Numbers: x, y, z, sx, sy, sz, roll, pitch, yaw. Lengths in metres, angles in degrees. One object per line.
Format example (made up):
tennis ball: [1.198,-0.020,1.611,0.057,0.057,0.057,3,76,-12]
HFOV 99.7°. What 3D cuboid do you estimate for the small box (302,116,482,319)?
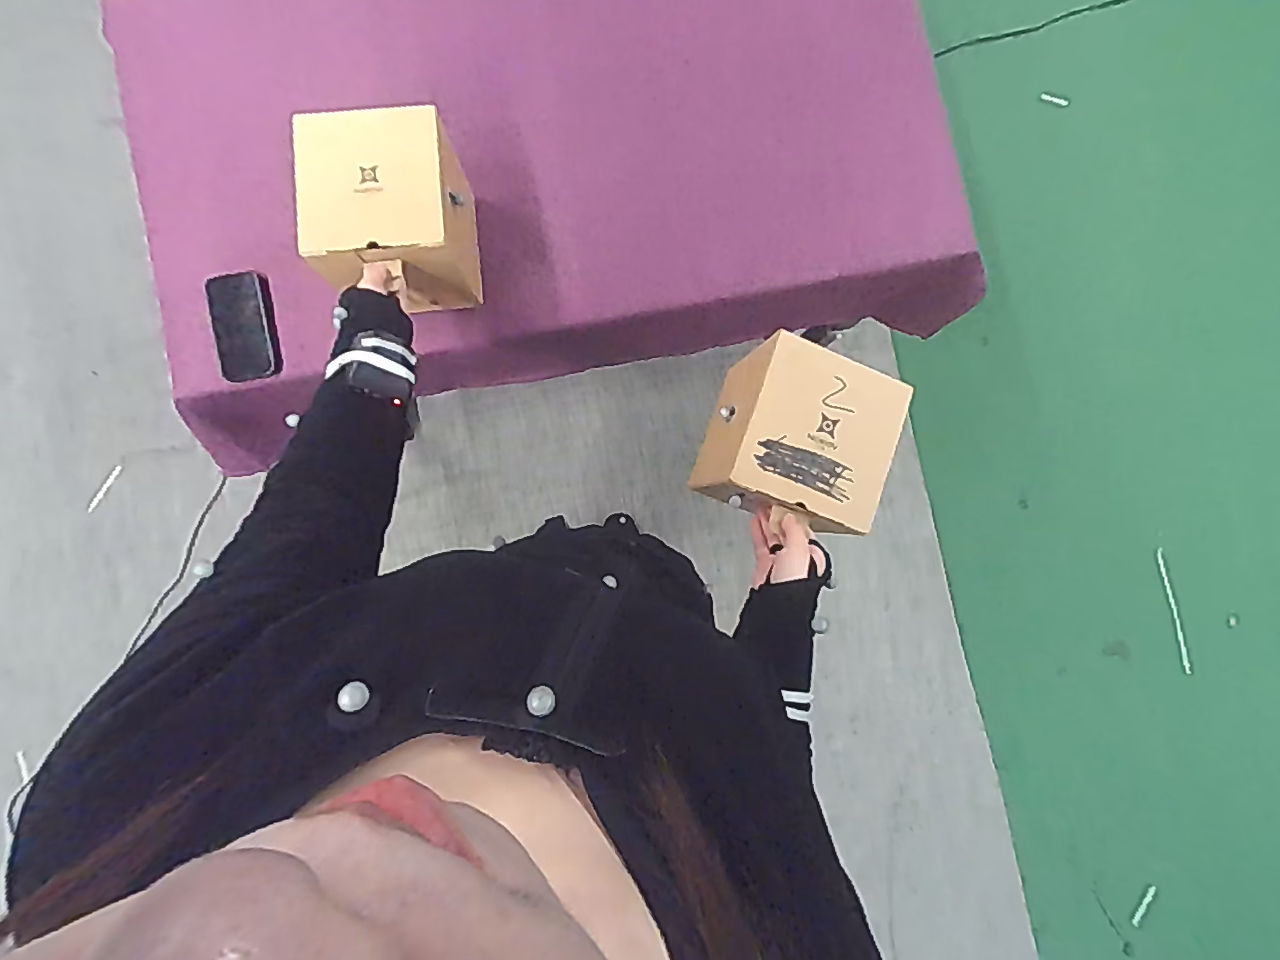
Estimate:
small box: [-0.313,-0.333,0.711,0.168,0.176,0.179,-5,84,-2]
